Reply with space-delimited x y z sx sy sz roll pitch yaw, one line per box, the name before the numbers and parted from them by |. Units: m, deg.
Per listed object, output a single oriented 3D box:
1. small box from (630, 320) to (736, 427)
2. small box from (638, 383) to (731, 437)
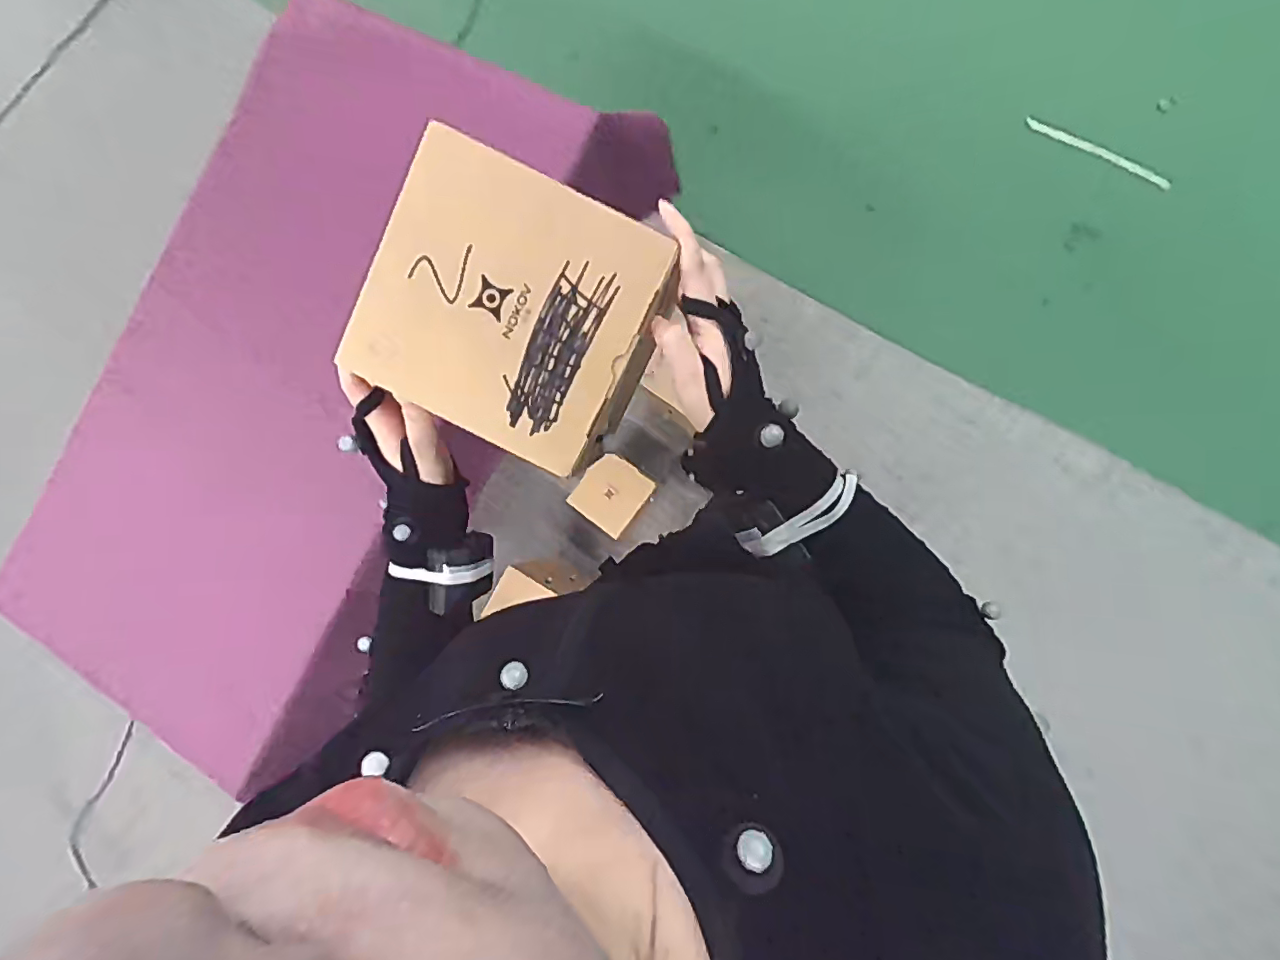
small box | 0.104 -0.237 1.258 0.179 0.176 0.168 37 93 8
small box | 0.123 -0.229 1.422 0.179 0.176 0.168 41 93 9
